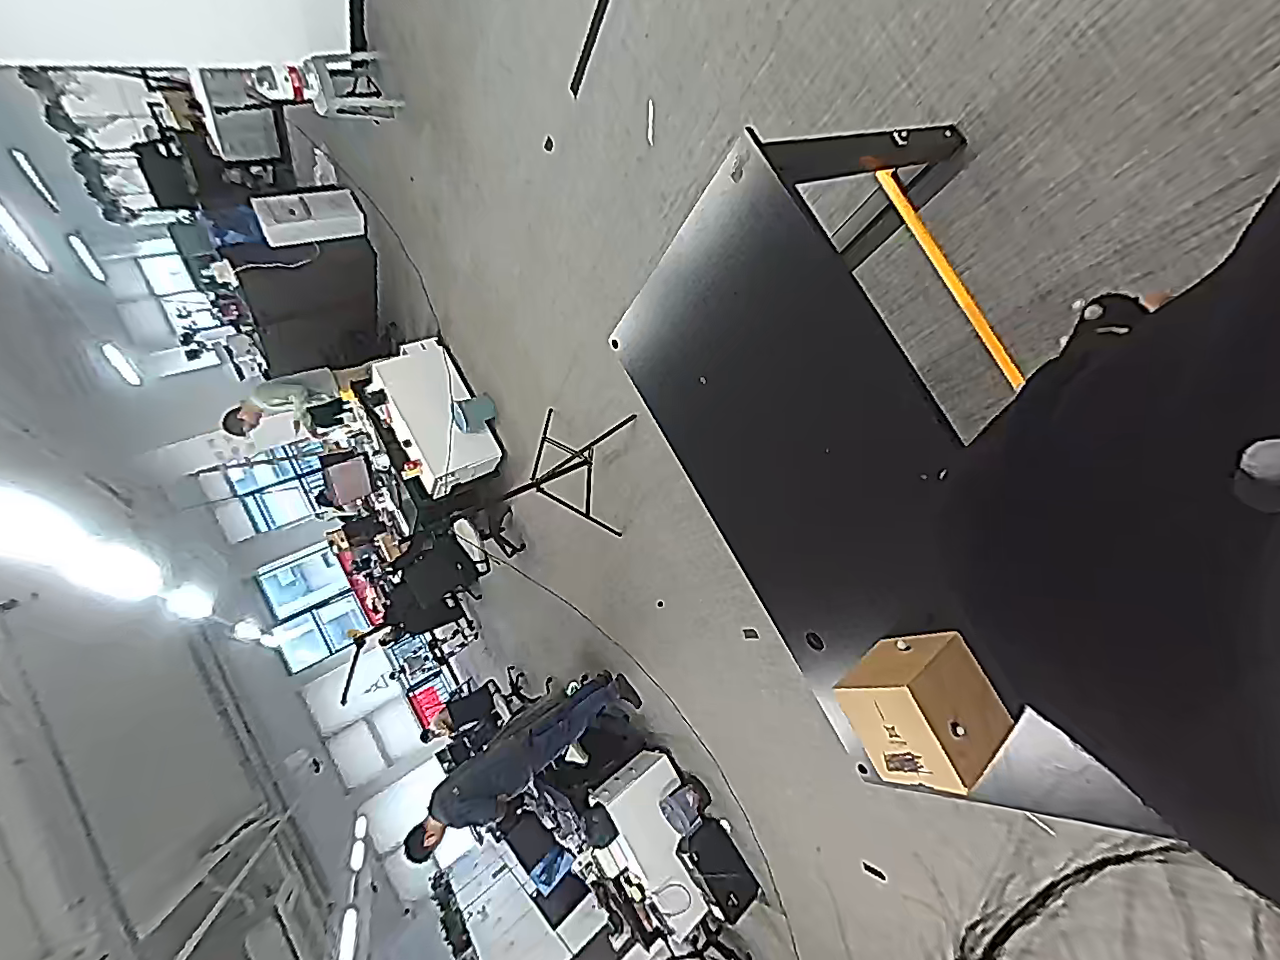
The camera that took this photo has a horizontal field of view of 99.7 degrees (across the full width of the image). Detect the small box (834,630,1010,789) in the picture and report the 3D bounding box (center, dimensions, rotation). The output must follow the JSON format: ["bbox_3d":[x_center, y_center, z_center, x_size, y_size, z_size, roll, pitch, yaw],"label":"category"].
[{"bbox_3d":[0.477,0.378,0.915,0.179,0.176,0.168,61,149,7],"label":"small box"}]
